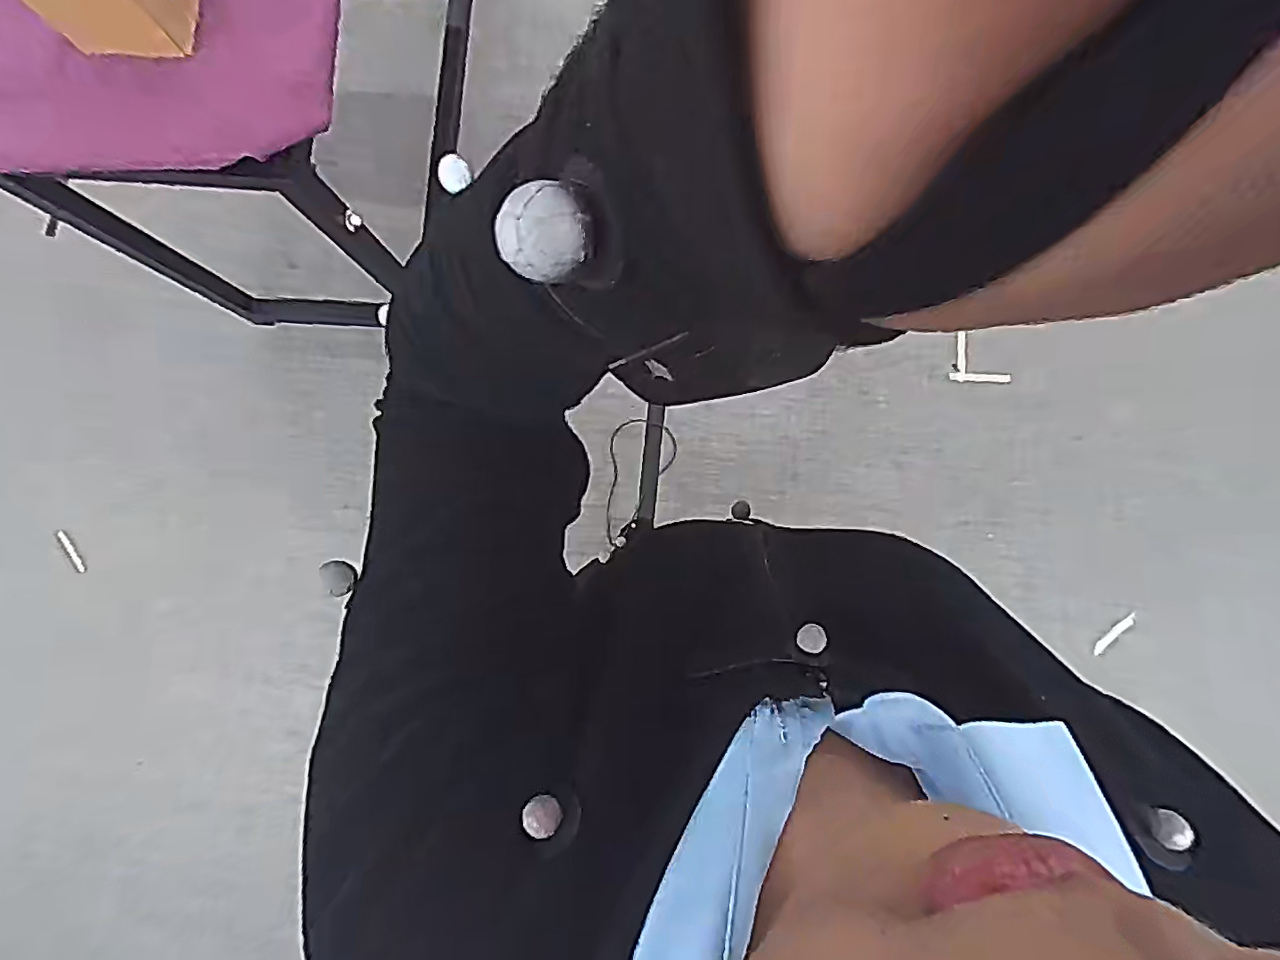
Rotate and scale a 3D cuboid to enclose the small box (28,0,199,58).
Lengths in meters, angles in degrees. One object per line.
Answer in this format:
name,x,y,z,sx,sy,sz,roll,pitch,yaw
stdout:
small box,-0.804,-0.767,0.795,0.179,0.176,0.168,2,84,0
